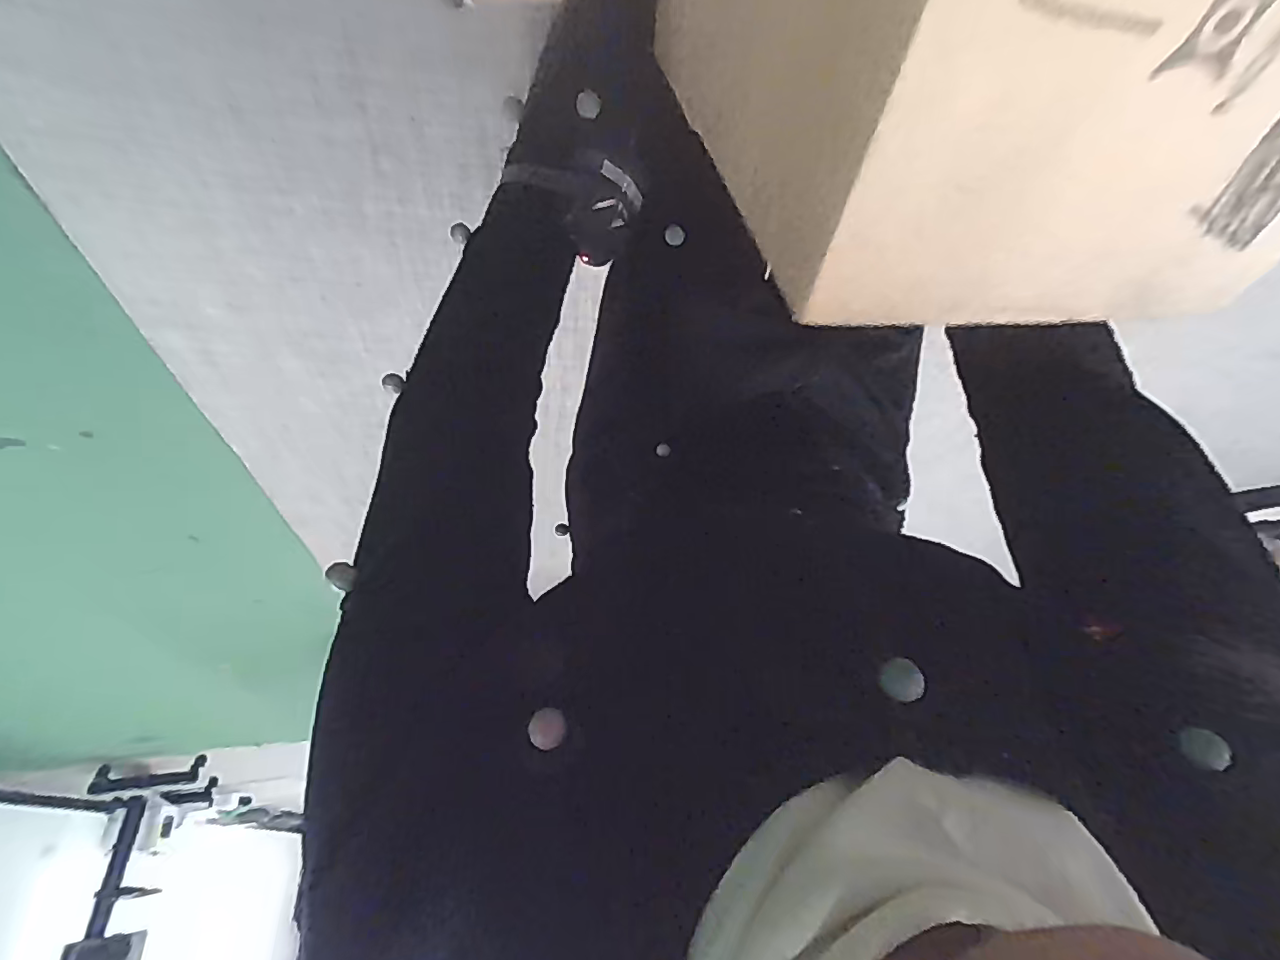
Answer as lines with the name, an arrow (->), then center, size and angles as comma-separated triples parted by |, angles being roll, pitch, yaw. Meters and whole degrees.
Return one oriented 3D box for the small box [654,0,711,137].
small box -> 0.101, -0.302, 0.269 | 0.168, 0.176, 0.179 | -5, 146, -7
